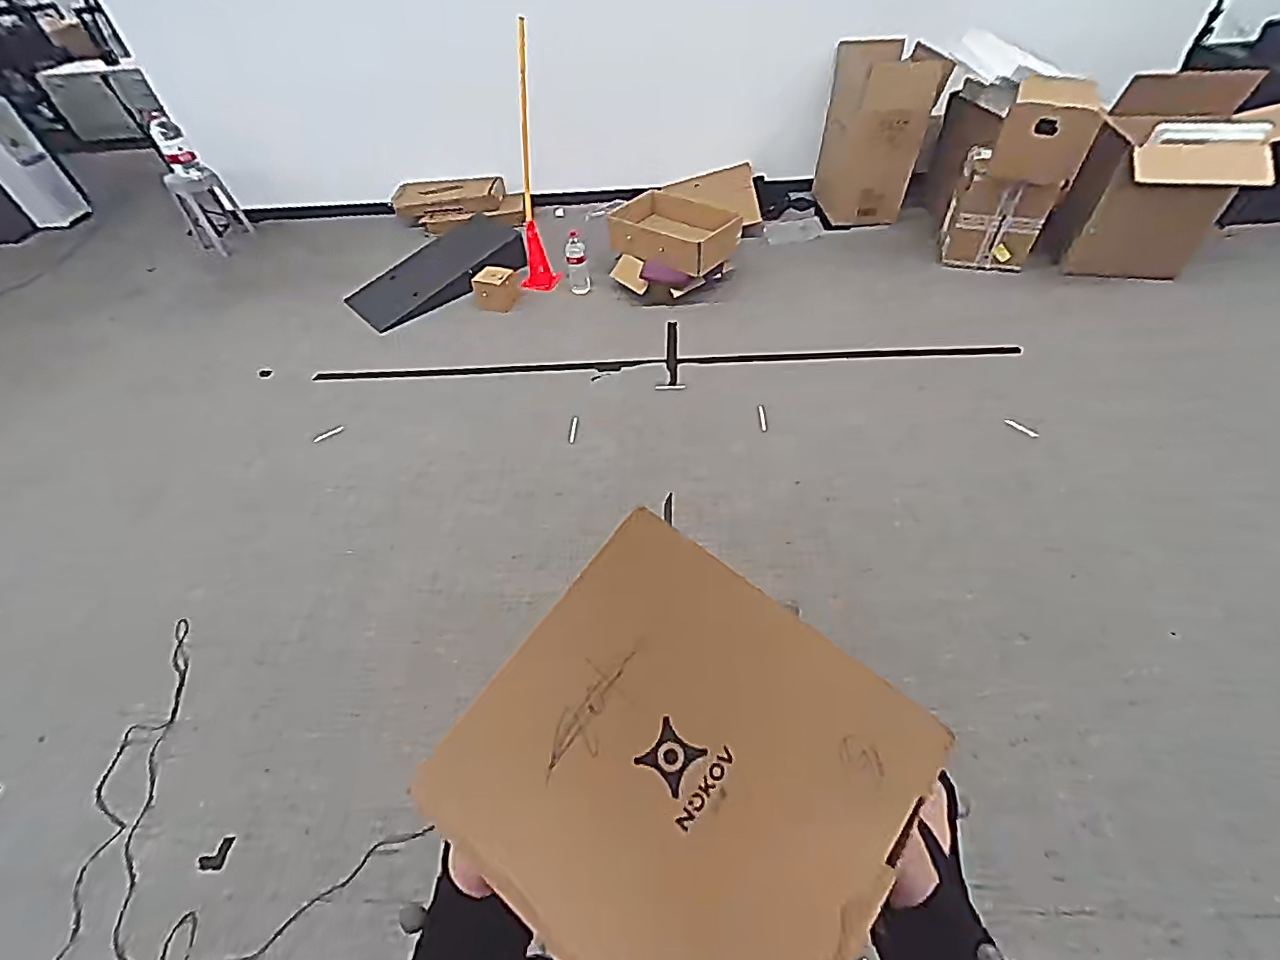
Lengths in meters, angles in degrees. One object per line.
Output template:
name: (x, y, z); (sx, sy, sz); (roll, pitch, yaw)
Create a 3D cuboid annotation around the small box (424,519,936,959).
small box: (0.022, 0.155, 0.318); (0.179, 0.176, 0.168); (34, 73, 17)
